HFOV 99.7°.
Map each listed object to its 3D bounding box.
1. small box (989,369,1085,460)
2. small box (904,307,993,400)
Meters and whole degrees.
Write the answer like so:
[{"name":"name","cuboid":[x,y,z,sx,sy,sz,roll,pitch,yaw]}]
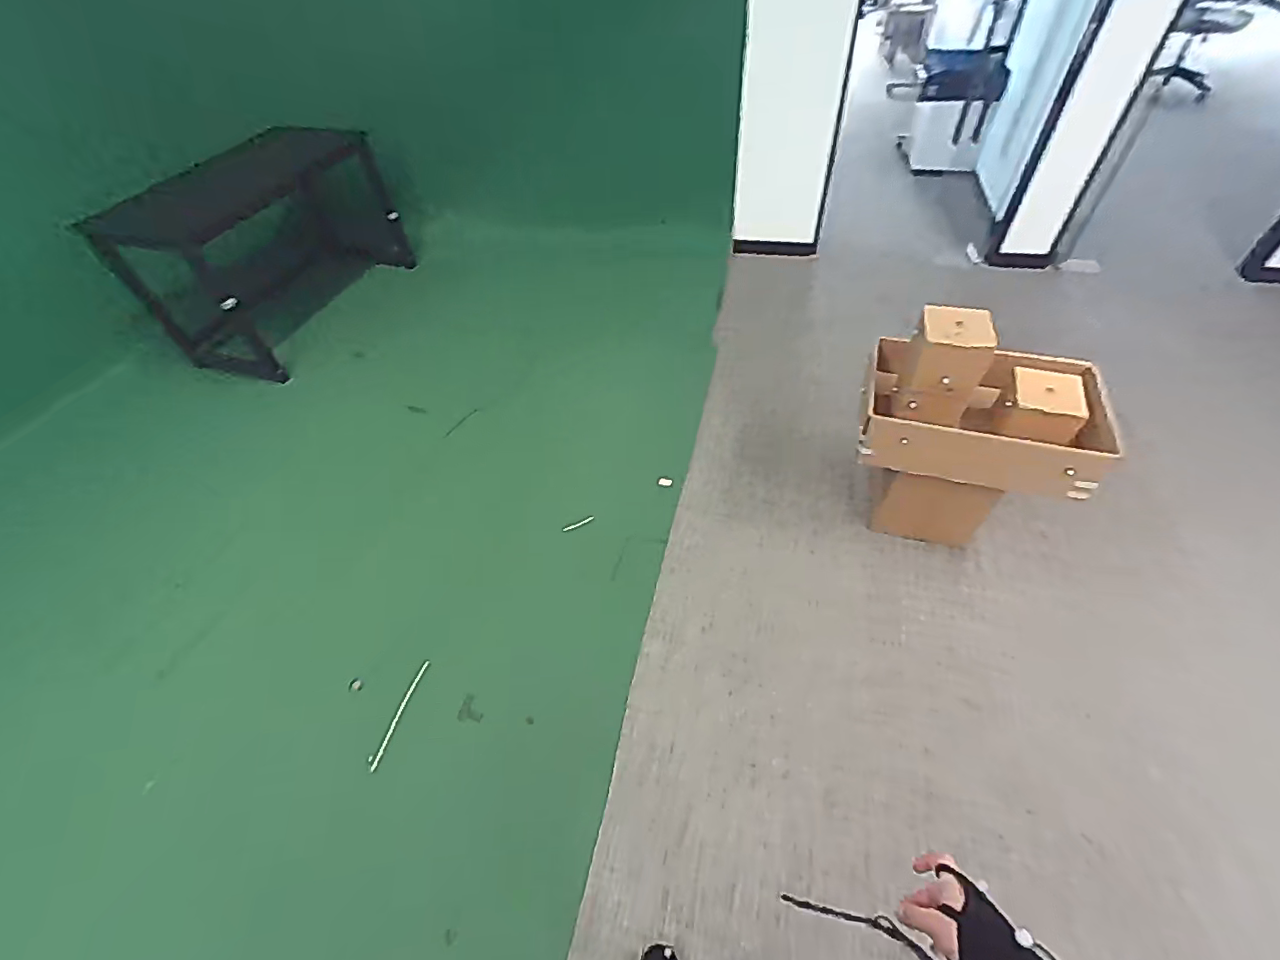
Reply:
[{"name":"small box","cuboid":[1.123,-0.186,1.546,0.168,0.176,0.179,14,53,15]},{"name":"small box","cuboid":[0.839,-0.348,1.488,0.168,0.176,0.179,10,51,13]}]
